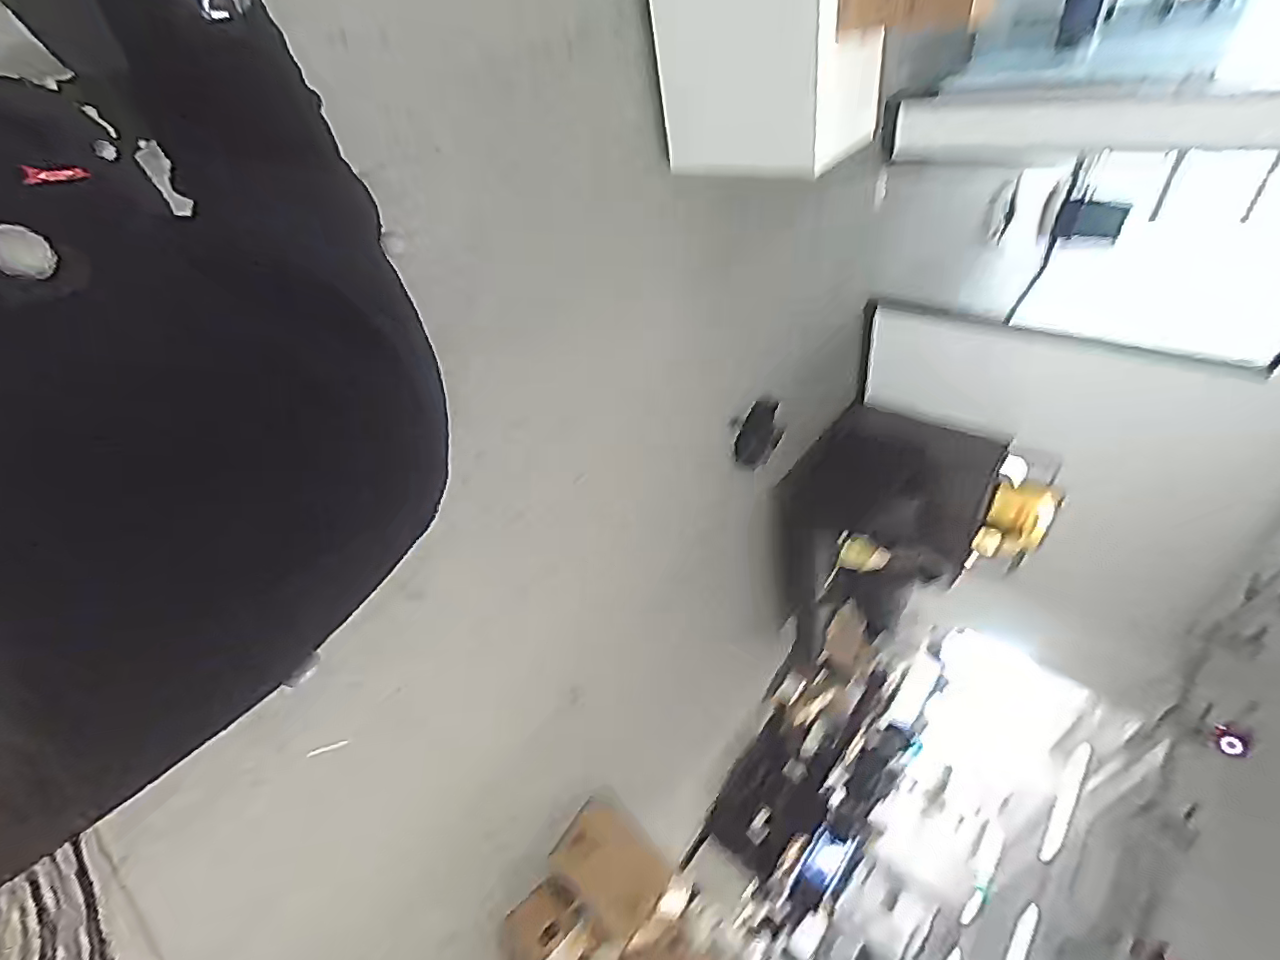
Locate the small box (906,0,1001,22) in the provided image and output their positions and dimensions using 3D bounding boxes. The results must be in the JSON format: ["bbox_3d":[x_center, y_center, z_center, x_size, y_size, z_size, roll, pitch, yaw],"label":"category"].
[{"bbox_3d":[0.758,-1.212,1.275,0.179,0.176,0.168,-42,138,-26],"label":"small box"}]

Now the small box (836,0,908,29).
[{"bbox_3d":[0.621,-1.273,1.373,0.179,0.176,0.168,-42,139,-29],"label":"small box"}]
